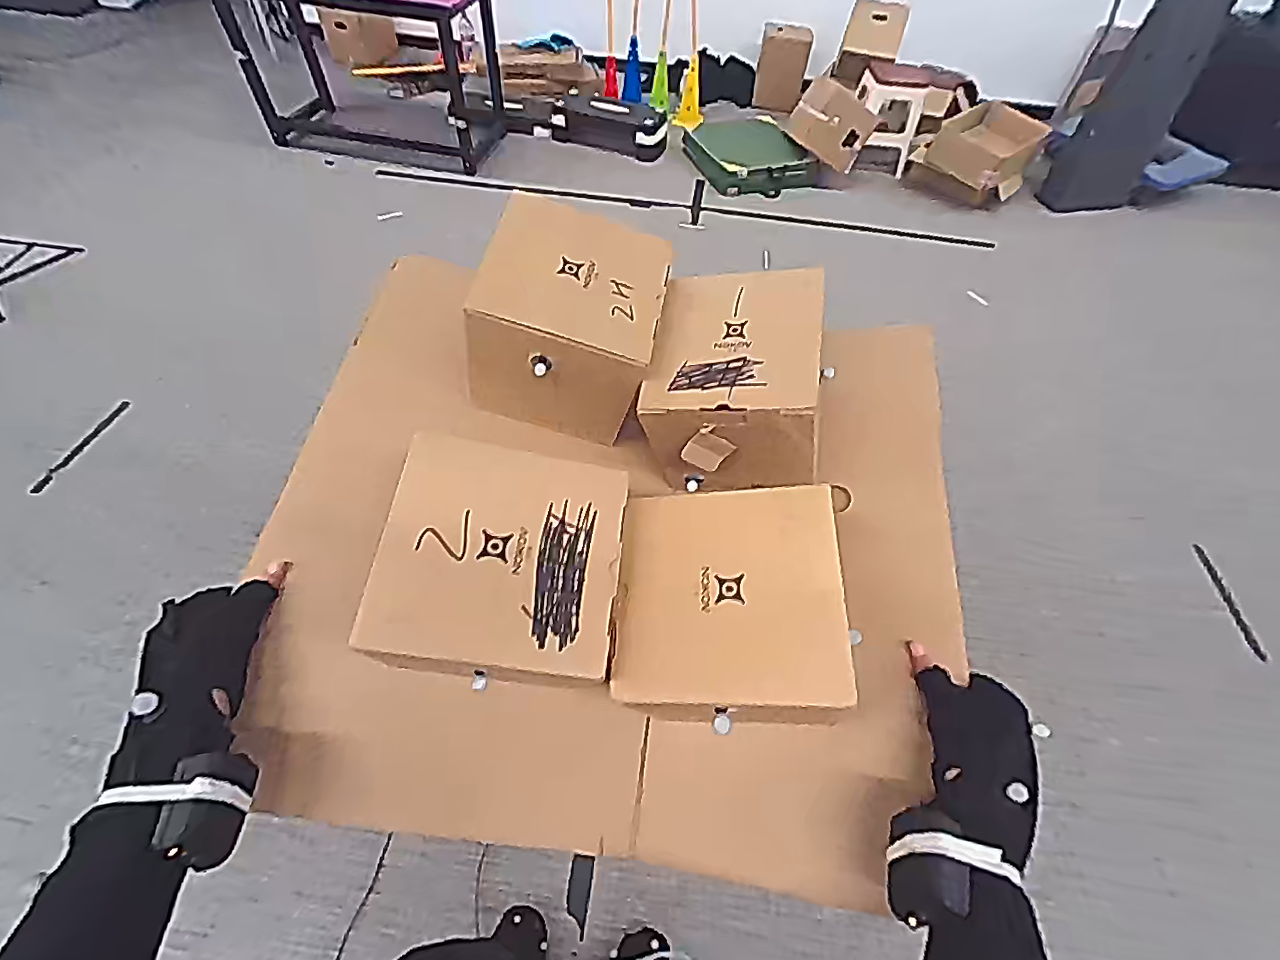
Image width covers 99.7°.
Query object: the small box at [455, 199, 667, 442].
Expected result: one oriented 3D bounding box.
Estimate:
[{"bbox_3d":[-0.088,-0.162,0.598,0.179,0.176,0.168,16,64,-8],"label":"small box"}]
